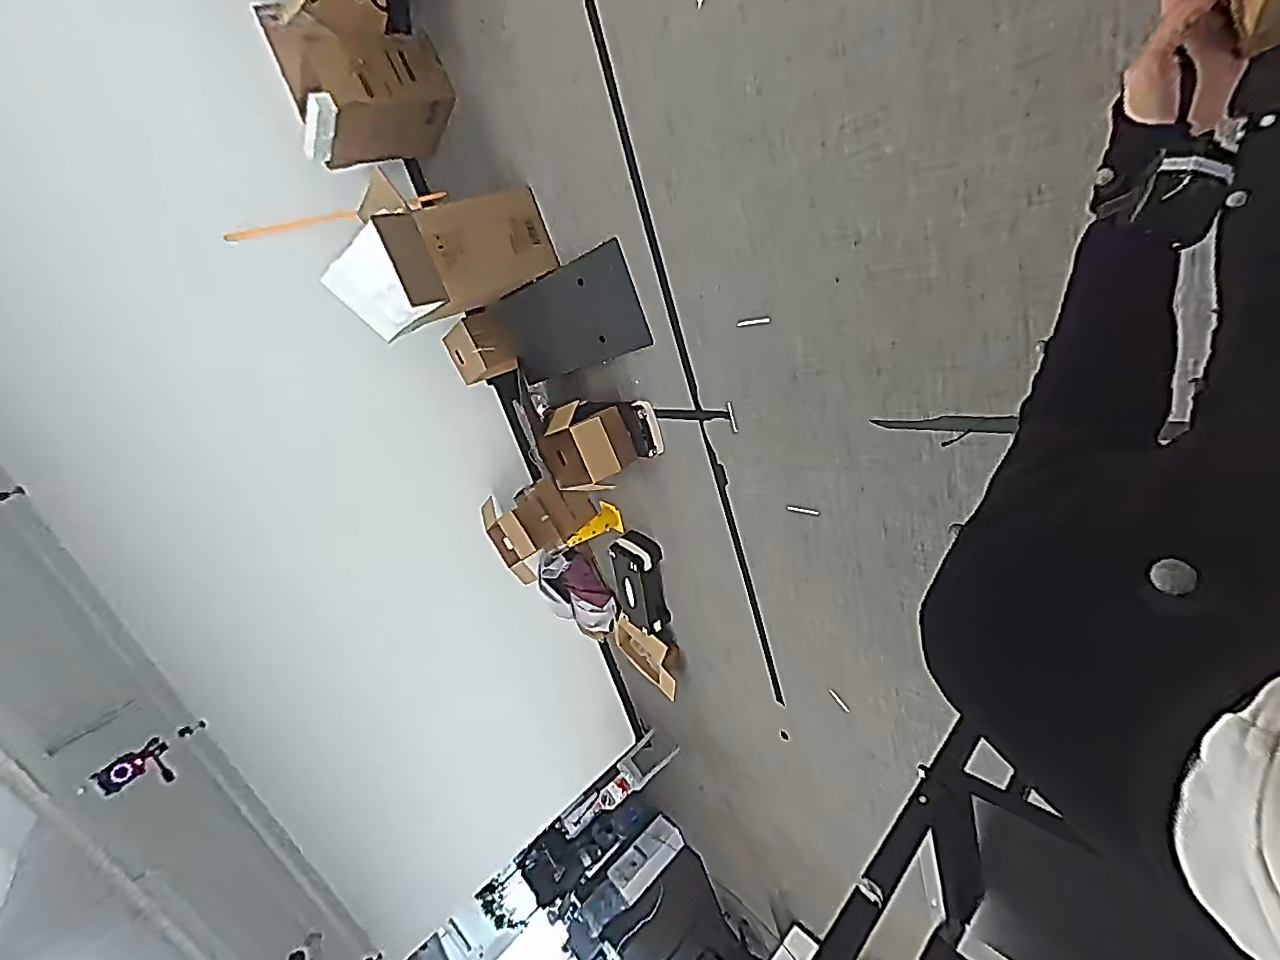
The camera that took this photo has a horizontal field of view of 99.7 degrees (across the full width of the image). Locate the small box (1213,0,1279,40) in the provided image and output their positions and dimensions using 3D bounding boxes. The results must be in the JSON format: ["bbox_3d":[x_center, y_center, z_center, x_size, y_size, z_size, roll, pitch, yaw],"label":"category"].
[{"bbox_3d":[0.432,-0.394,0.296,0.168,0.176,0.179,-13,90,44],"label":"small box"}]
